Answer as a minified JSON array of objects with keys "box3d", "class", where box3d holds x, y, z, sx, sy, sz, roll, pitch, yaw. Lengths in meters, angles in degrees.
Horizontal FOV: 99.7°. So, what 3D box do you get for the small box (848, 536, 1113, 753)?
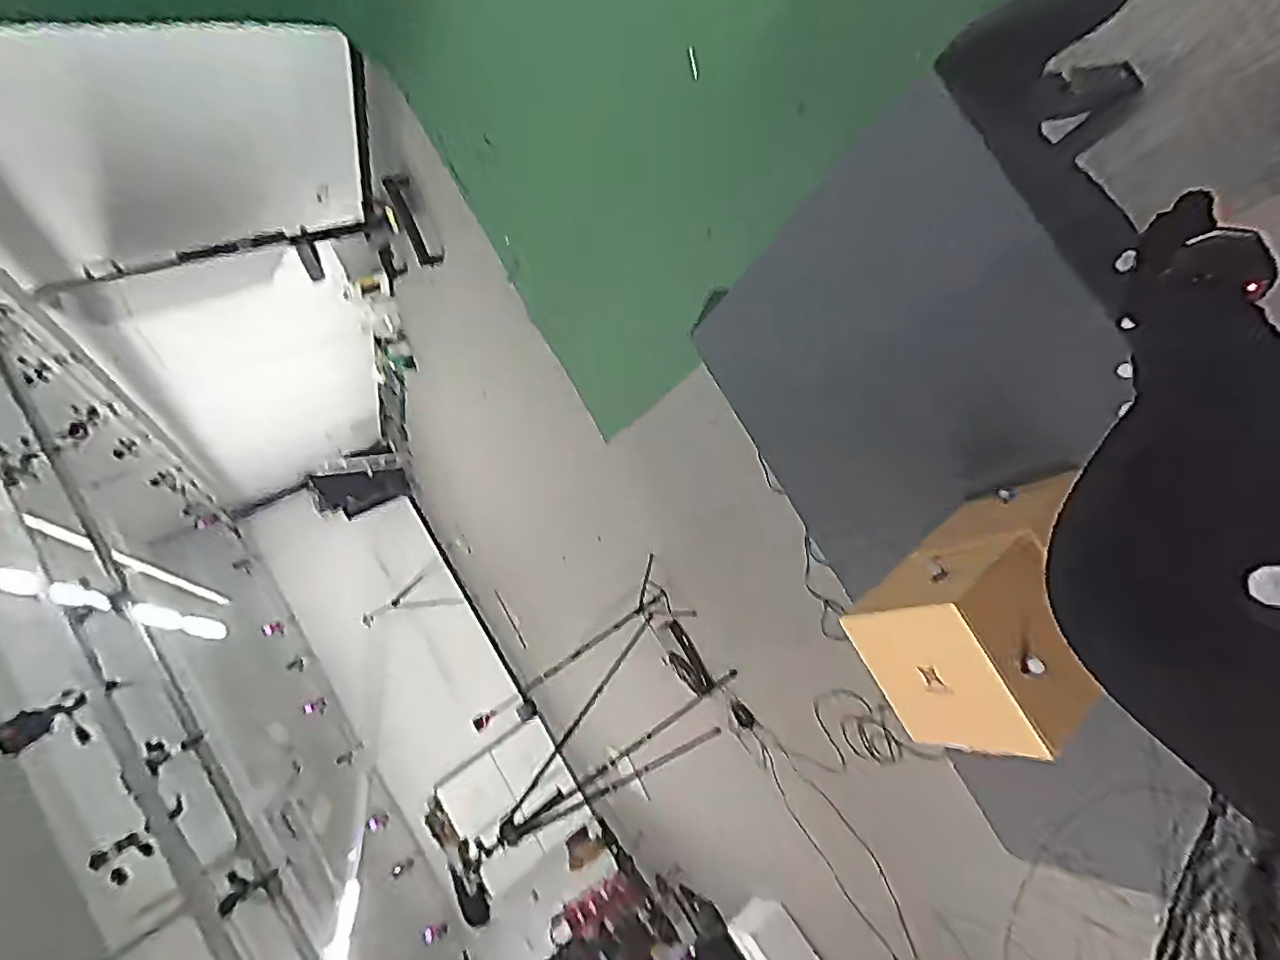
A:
[{"box3d":[0.392,0.181,0.633,0.179,0.176,0.168,59,151,5],"class":"small box"}]
